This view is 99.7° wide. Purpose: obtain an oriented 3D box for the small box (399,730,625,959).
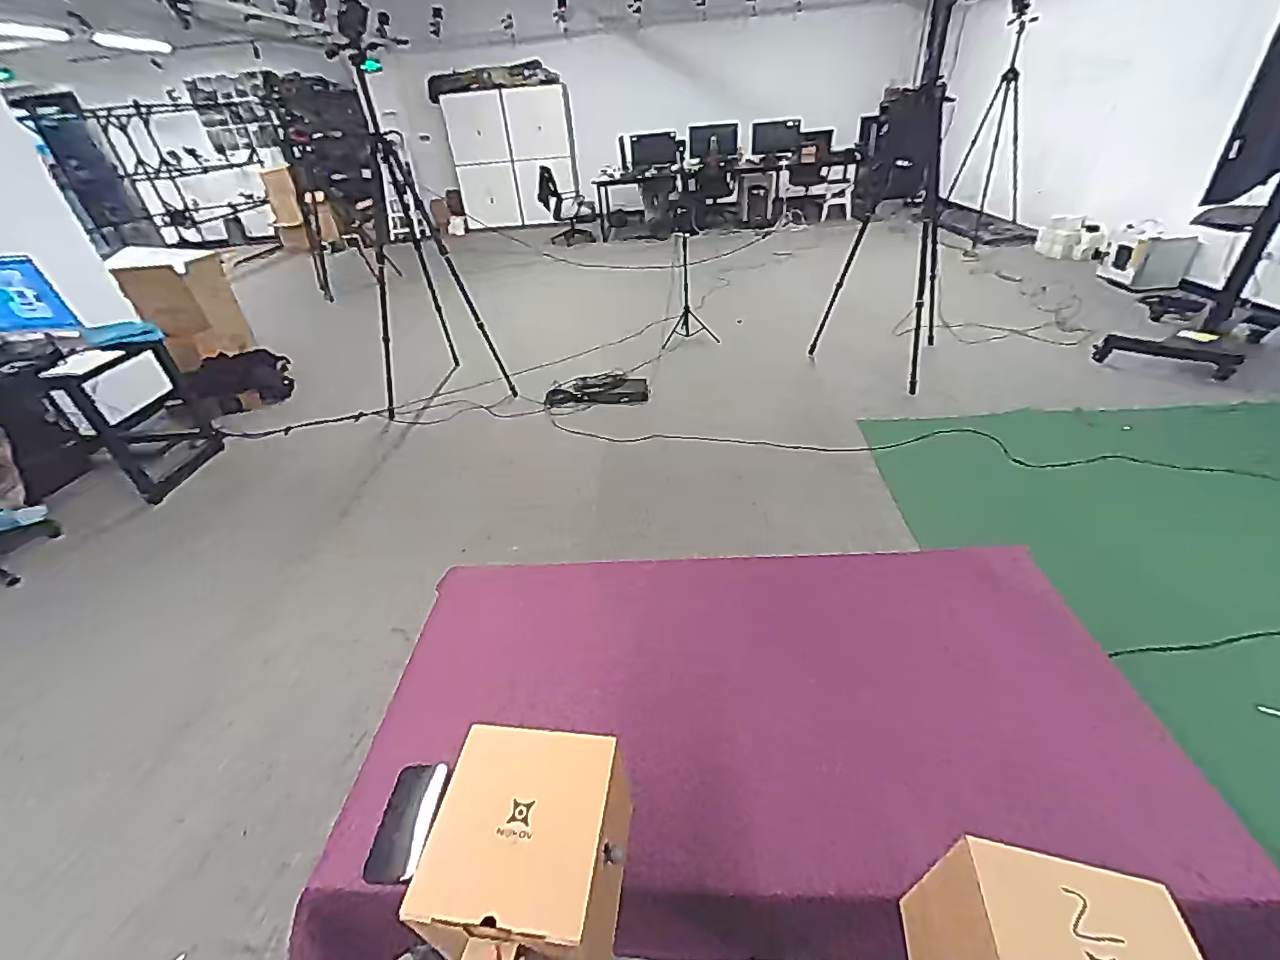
[{"bbox_3d":[-0.111,0.393,0.561,0.168,0.176,0.179,1,38,9],"label":"small box"}]
